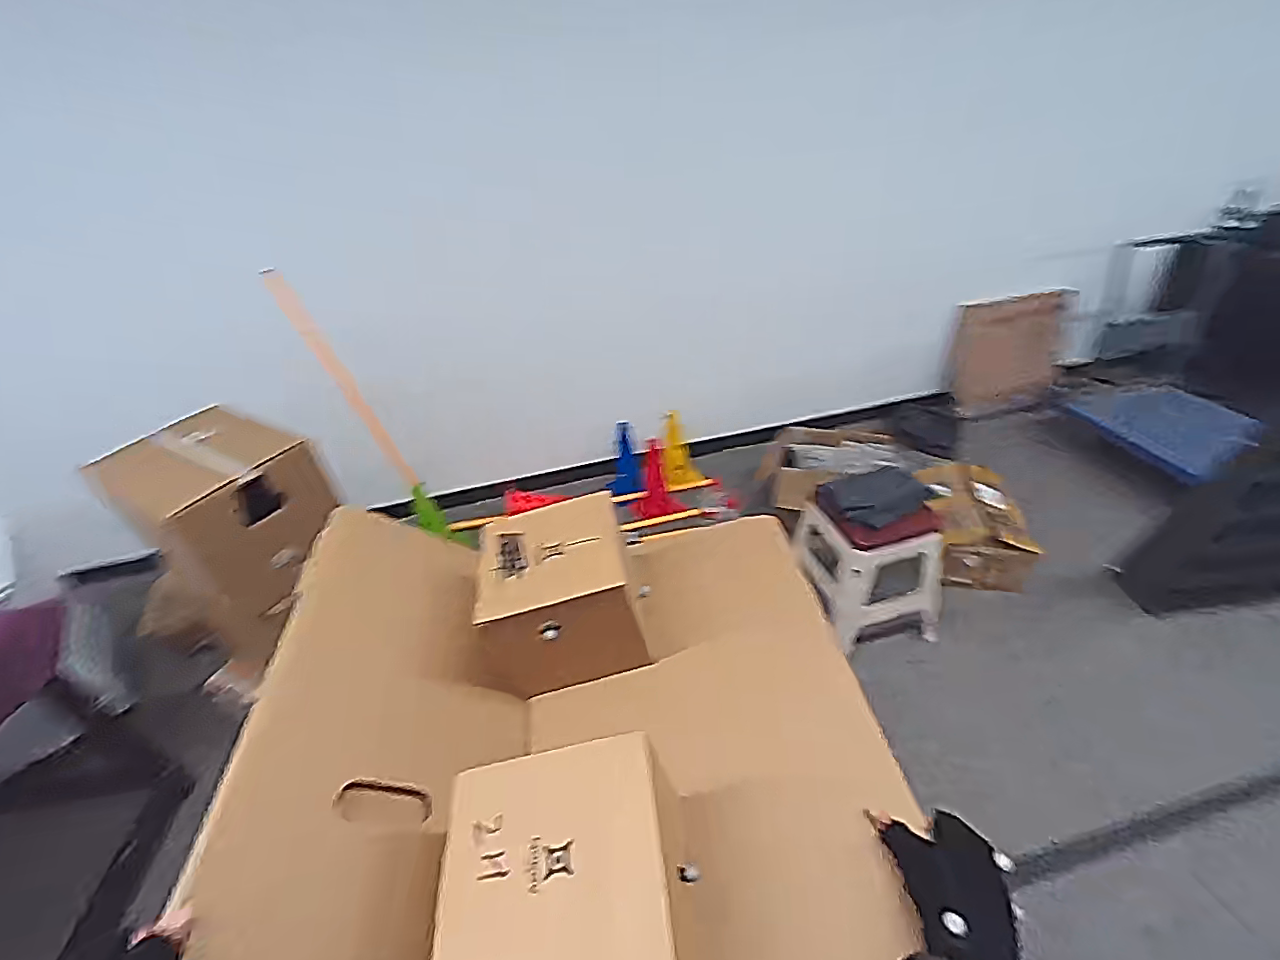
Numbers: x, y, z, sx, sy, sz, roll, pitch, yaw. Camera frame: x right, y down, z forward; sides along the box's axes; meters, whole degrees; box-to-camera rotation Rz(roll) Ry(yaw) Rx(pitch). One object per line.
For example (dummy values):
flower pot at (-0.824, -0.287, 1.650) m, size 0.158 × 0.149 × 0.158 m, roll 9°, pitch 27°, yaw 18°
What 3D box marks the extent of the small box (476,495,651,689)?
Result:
small box at (-0.096, 0.151, 0.718) m, size 0.179 × 0.176 × 0.168 m, roll -15°, pitch 40°, yaw 2°
